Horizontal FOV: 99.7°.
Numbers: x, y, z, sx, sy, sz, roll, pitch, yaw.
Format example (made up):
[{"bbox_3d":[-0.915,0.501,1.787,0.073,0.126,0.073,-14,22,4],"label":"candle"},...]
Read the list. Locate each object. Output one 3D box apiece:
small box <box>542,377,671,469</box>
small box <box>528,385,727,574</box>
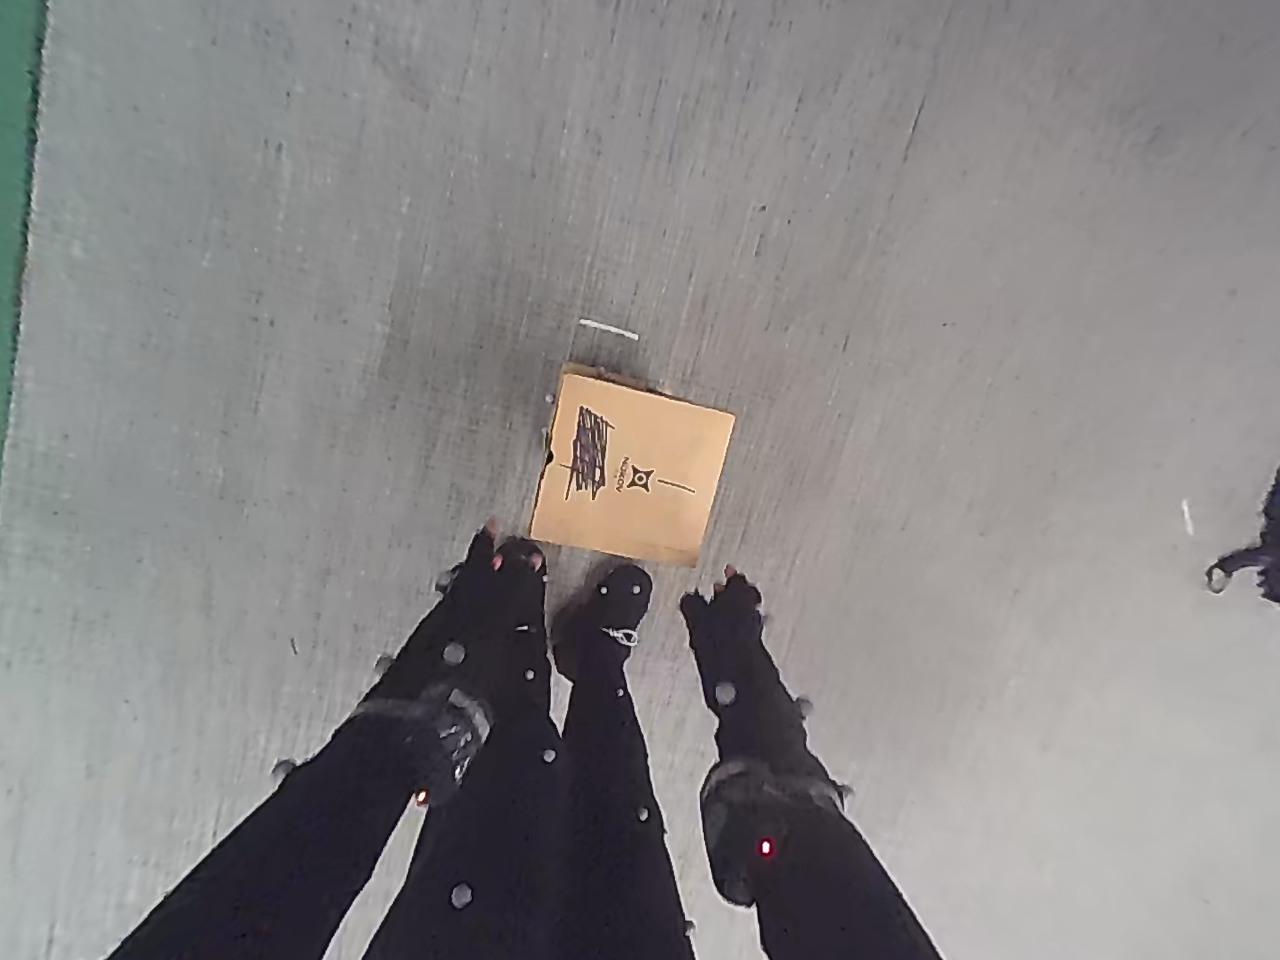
[{"bbox_3d":[-0.066,-0.077,0.933,0.179,0.176,0.168,13,97,-11],"label":"small box"},{"bbox_3d":[-0.023,-0.009,0.632,0.179,0.176,0.168,13,98,-10],"label":"small box"}]
